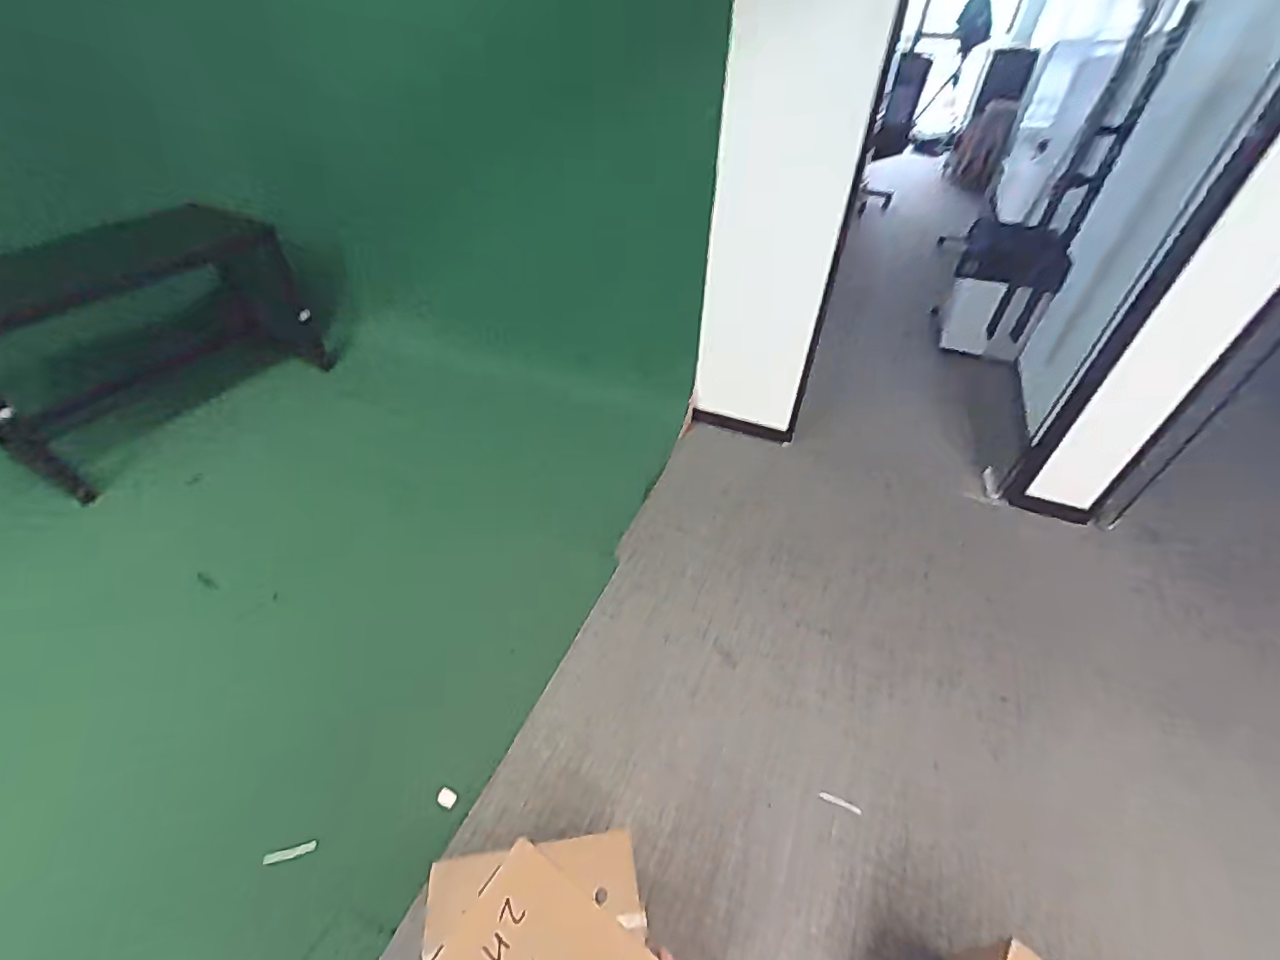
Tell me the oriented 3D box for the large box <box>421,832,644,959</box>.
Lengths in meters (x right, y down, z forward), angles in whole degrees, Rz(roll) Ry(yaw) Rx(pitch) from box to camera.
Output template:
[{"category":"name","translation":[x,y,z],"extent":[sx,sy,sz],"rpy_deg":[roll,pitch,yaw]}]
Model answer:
[{"category":"large box","translation":[-0.194,0.961,1.085],"extent":[0.408,0.320,0.320],"rpy_deg":[-6,43,-7]}]

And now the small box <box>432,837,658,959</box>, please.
[{"category":"small box","translation":[-0.100,0.492,0.523],"extent":[0.179,0.176,0.168],"rpy_deg":[31,51,19]}]
